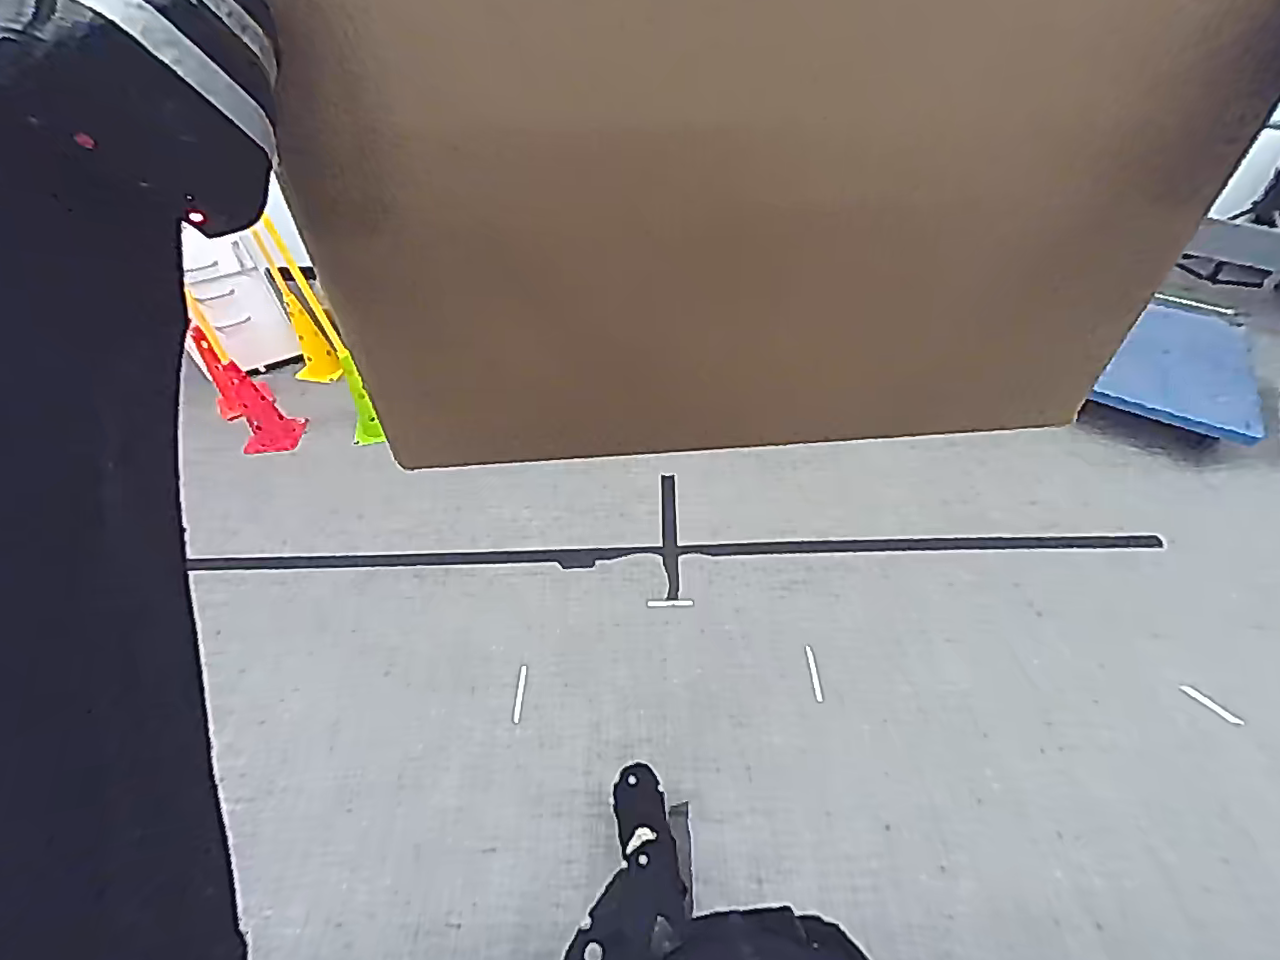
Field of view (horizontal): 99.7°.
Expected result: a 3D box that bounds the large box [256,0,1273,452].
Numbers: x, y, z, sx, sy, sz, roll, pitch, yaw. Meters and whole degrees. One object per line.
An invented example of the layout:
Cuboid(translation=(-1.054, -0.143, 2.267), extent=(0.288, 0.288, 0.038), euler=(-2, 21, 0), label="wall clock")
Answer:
Cuboid(translation=(0.044, -0.239, 0.344), extent=(0.408, 0.320, 0.320), euler=(-4, 43, -5), label="large box")
